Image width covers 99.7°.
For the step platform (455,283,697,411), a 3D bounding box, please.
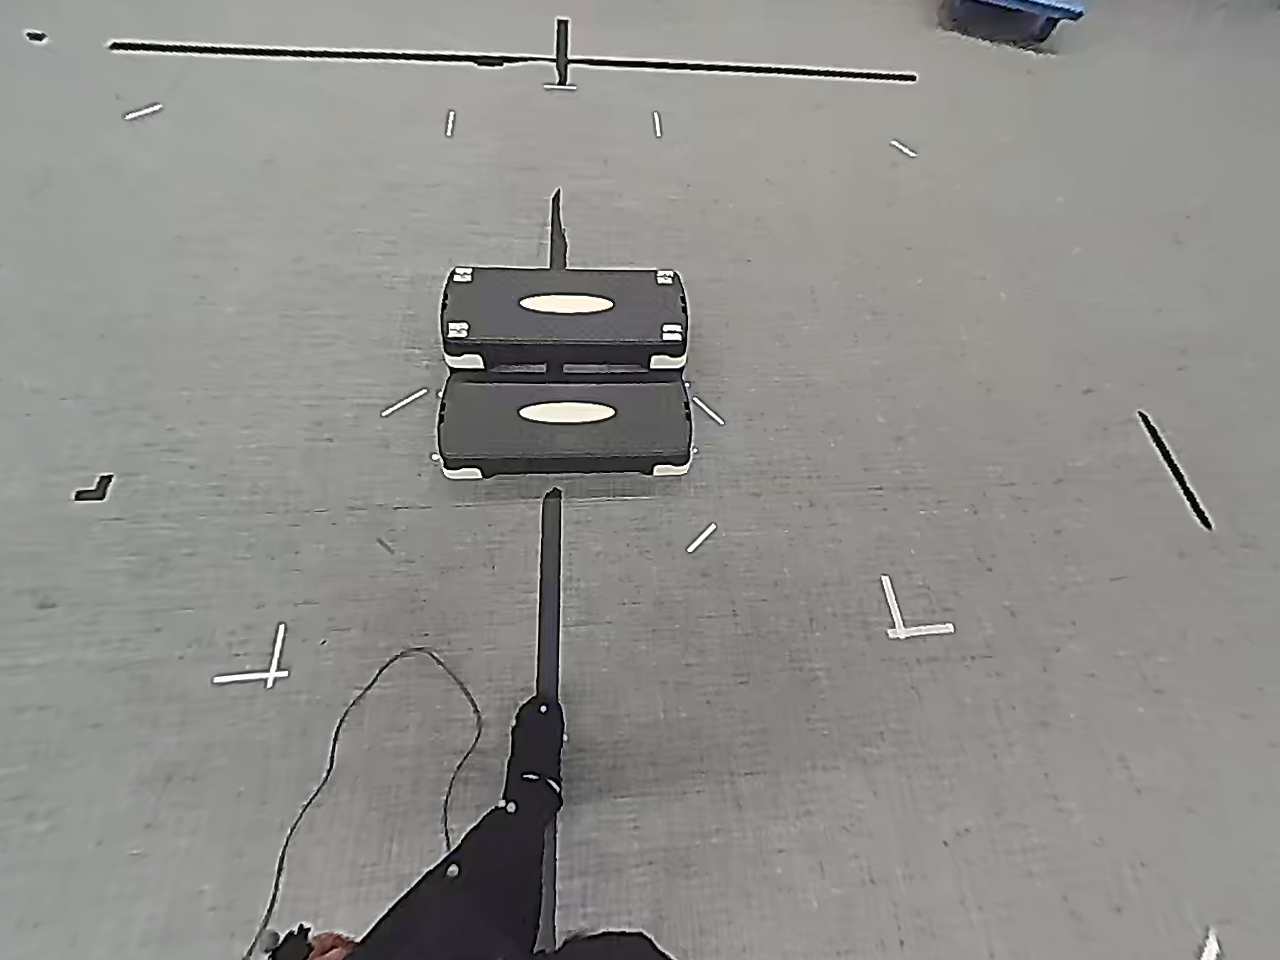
[{"bbox_3d":[-0.176,-0.386,1.572,0.684,0.204,0.286,3,62,-4],"label":"step platform"}]
